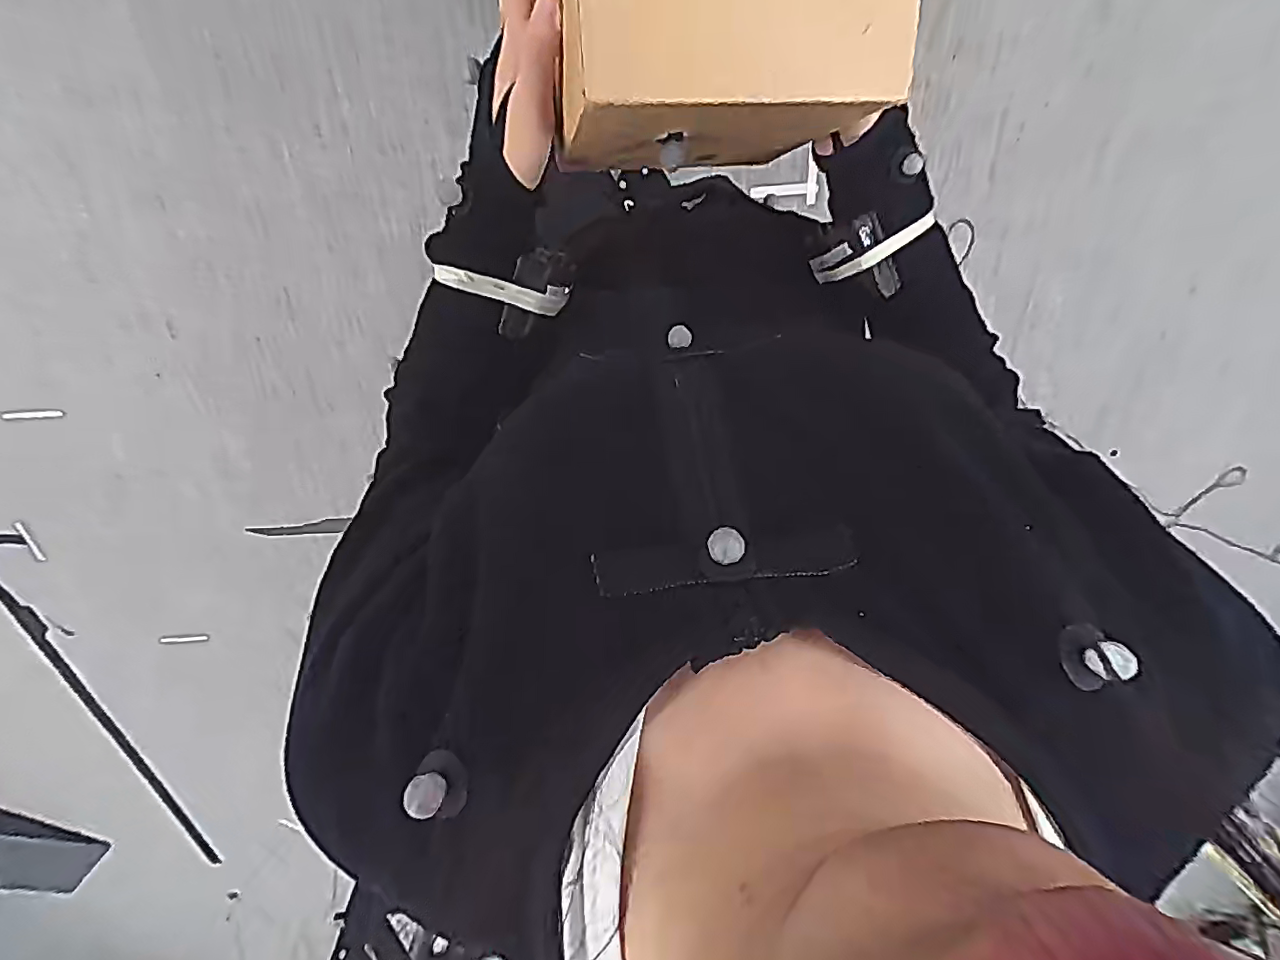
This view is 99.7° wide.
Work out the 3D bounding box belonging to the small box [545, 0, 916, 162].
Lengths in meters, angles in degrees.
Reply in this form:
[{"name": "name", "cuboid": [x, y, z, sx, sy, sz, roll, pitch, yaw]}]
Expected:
[{"name": "small box", "cuboid": [0.034, -0.290, 0.304, 0.168, 0.176, 0.179, -8, 110, -10]}]
